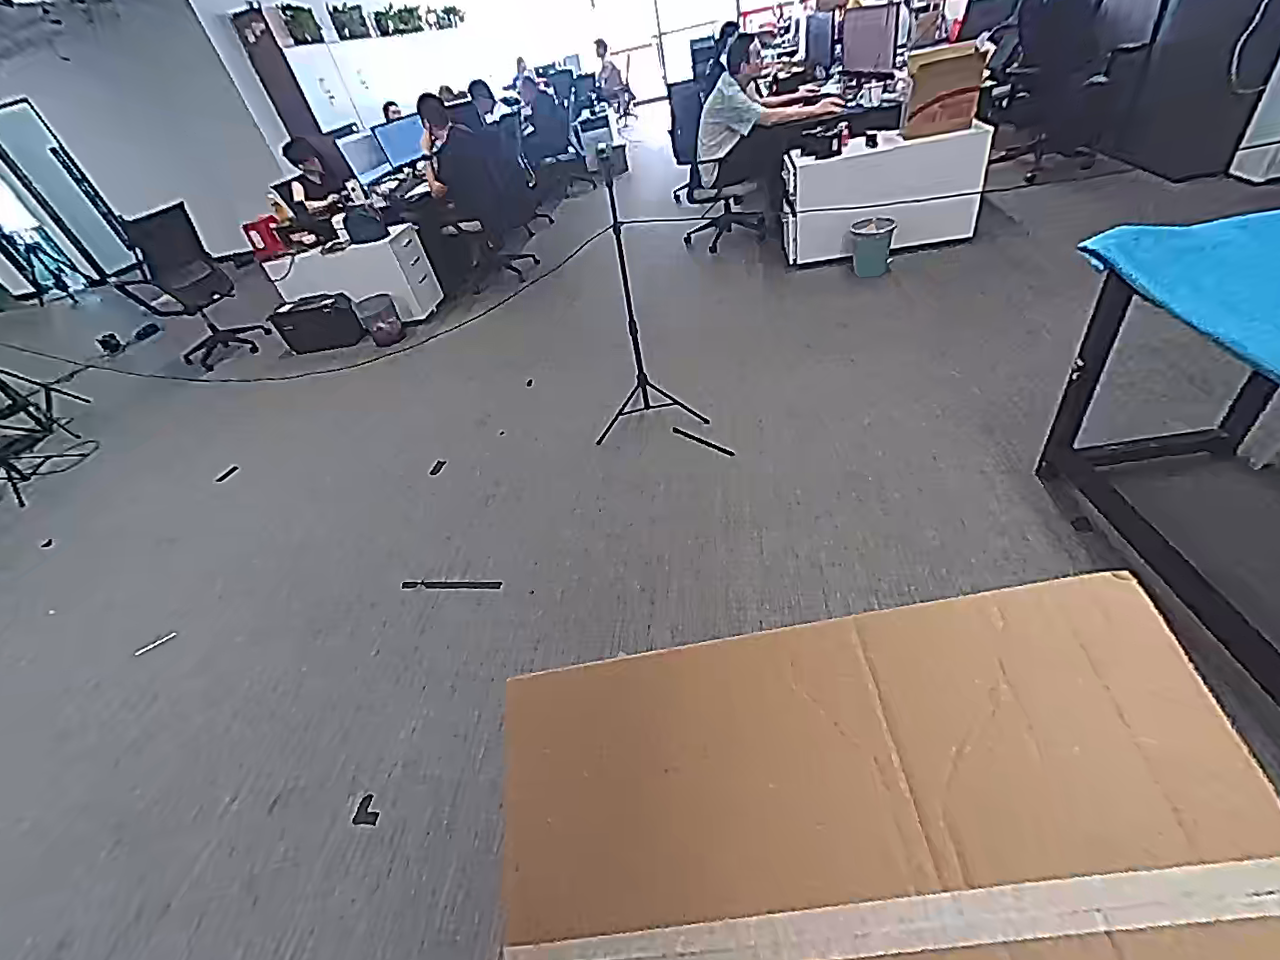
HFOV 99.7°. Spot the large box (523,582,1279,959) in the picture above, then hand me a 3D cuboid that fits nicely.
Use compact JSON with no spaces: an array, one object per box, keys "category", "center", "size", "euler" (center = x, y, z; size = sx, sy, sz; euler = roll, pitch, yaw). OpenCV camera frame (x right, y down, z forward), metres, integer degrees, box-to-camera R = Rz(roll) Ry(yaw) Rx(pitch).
[{"category":"large box","center":[0.157,0.310,0.410],"size":[0.408,0.320,0.320],"euler":[-12,59,7]}]
